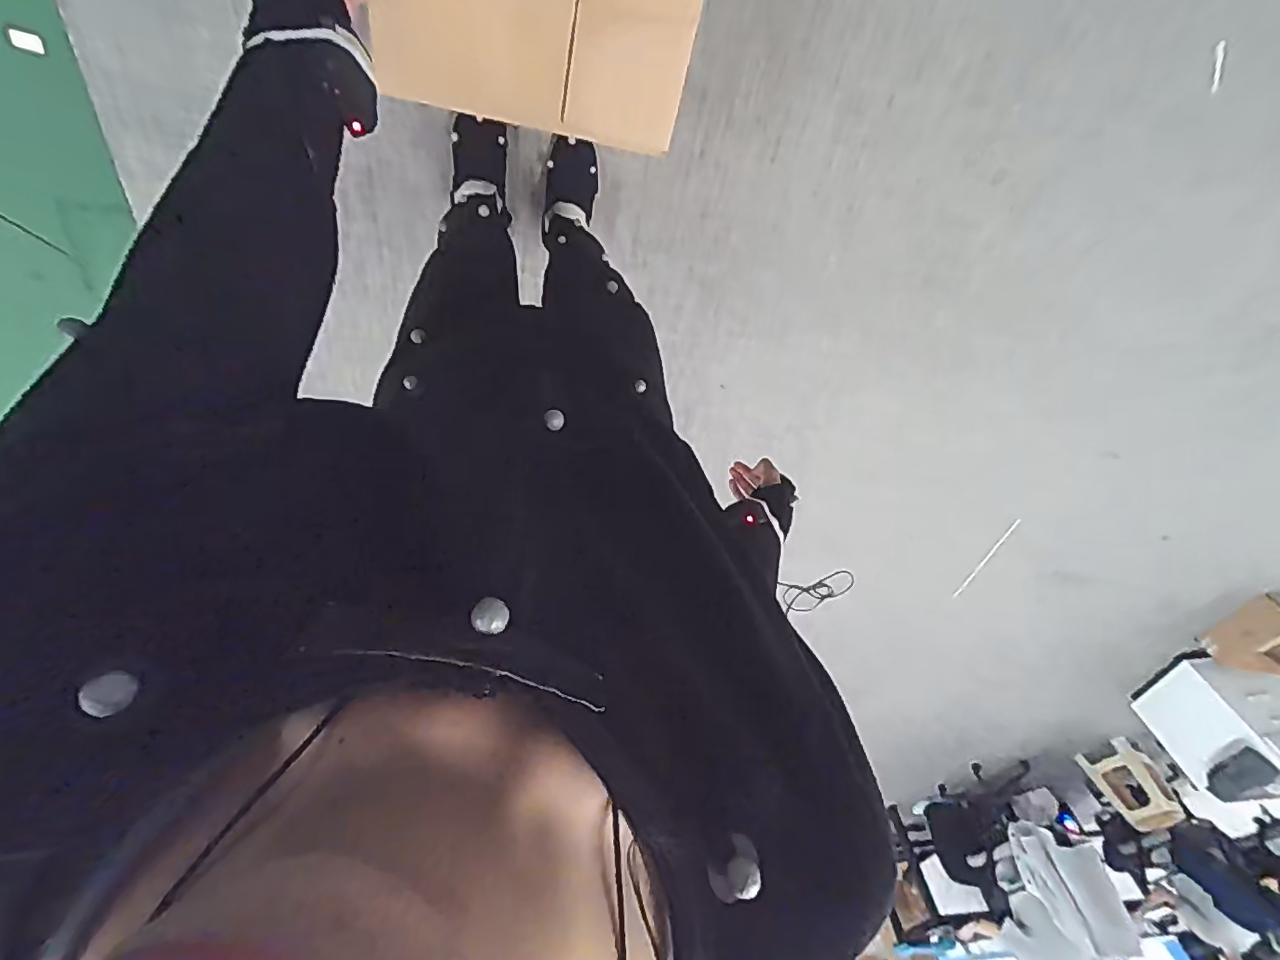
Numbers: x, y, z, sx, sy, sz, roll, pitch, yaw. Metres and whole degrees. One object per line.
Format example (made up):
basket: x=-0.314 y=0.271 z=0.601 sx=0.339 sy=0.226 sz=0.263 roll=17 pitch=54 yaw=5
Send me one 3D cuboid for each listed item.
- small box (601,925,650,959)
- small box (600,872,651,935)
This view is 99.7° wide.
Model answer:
small box: x=-0.056 y=1.773 z=2.003 sx=0.168 sy=0.176 sz=0.179 roll=4 pitch=130 yaw=-10
small box: x=-0.061 y=1.664 z=2.127 sx=0.179 sy=0.176 sz=0.168 roll=4 pitch=130 yaw=-9
